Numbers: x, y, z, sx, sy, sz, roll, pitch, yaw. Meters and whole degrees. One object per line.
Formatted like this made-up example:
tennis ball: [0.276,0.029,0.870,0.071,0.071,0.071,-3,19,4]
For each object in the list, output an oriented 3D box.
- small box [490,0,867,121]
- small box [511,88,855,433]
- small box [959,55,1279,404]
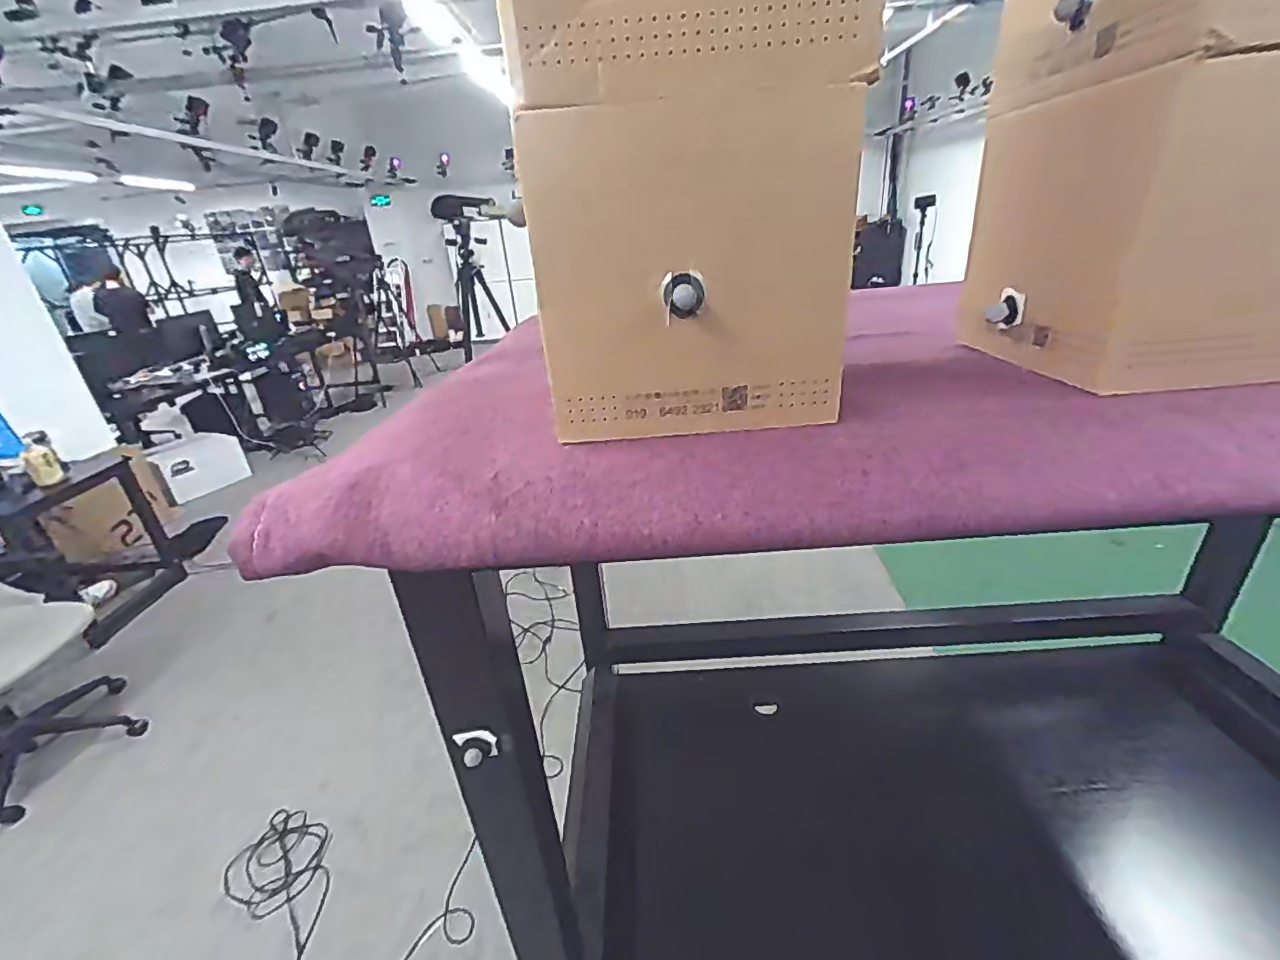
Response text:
small box: [0.014,-0.280,0.287,0.179,0.176,0.168,-4,26,0]
small box: [0.025,-0.134,0.358,0.168,0.176,0.179,-3,25,1]
small box: [0.346,-0.158,0.355,0.179,0.176,0.168,-6,25,2]
